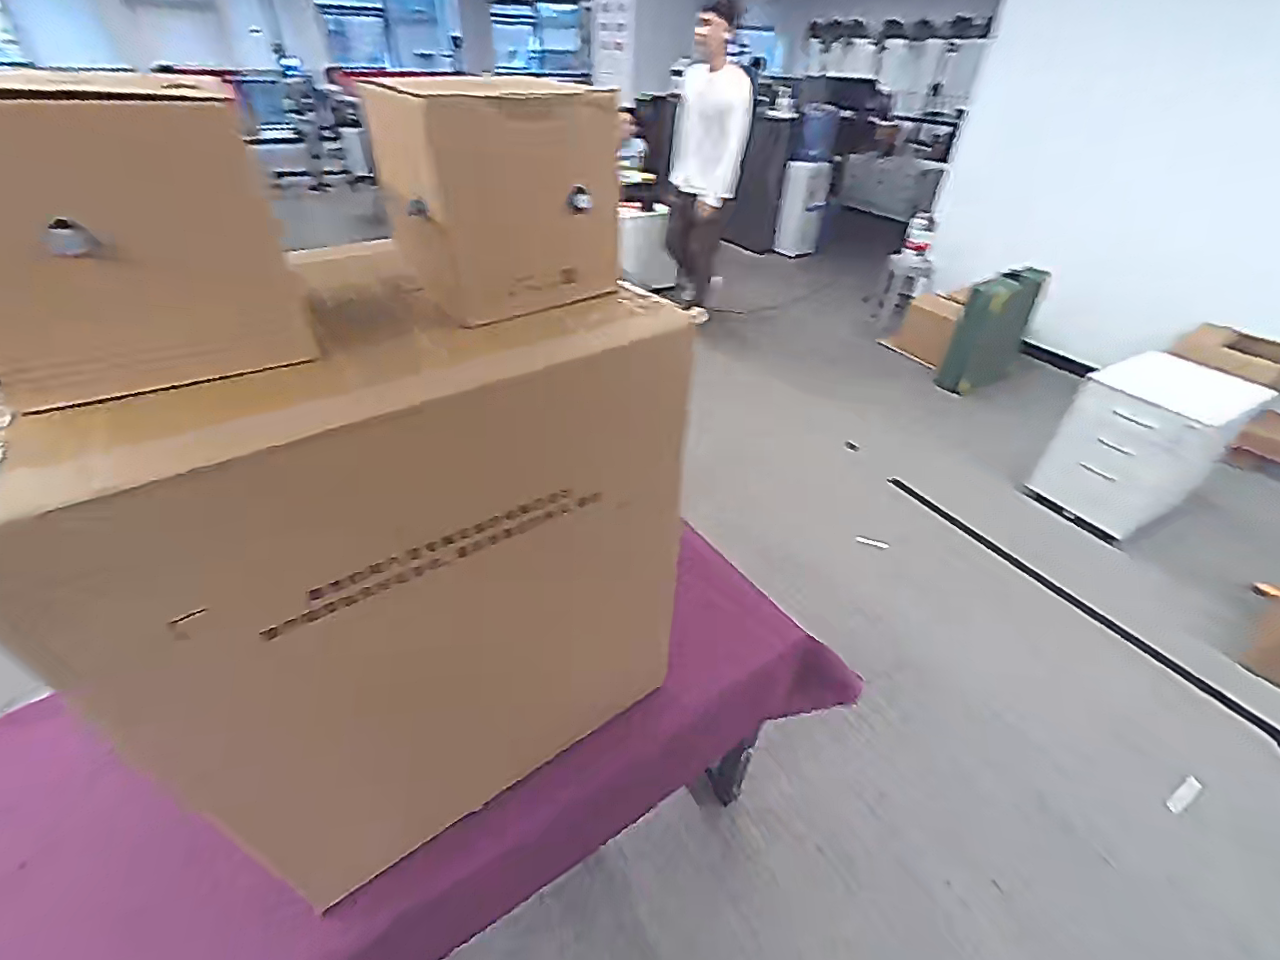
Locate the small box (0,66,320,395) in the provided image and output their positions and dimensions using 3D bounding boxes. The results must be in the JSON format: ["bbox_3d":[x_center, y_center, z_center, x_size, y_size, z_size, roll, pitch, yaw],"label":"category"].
[{"bbox_3d":[-0.355,-0.177,0.374,0.179,0.176,0.168,-21,45,-27],"label":"small box"}]

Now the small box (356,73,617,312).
[{"bbox_3d":[-0.132,-0.268,0.502,0.168,0.176,0.179,-24,45,-29],"label":"small box"}]
